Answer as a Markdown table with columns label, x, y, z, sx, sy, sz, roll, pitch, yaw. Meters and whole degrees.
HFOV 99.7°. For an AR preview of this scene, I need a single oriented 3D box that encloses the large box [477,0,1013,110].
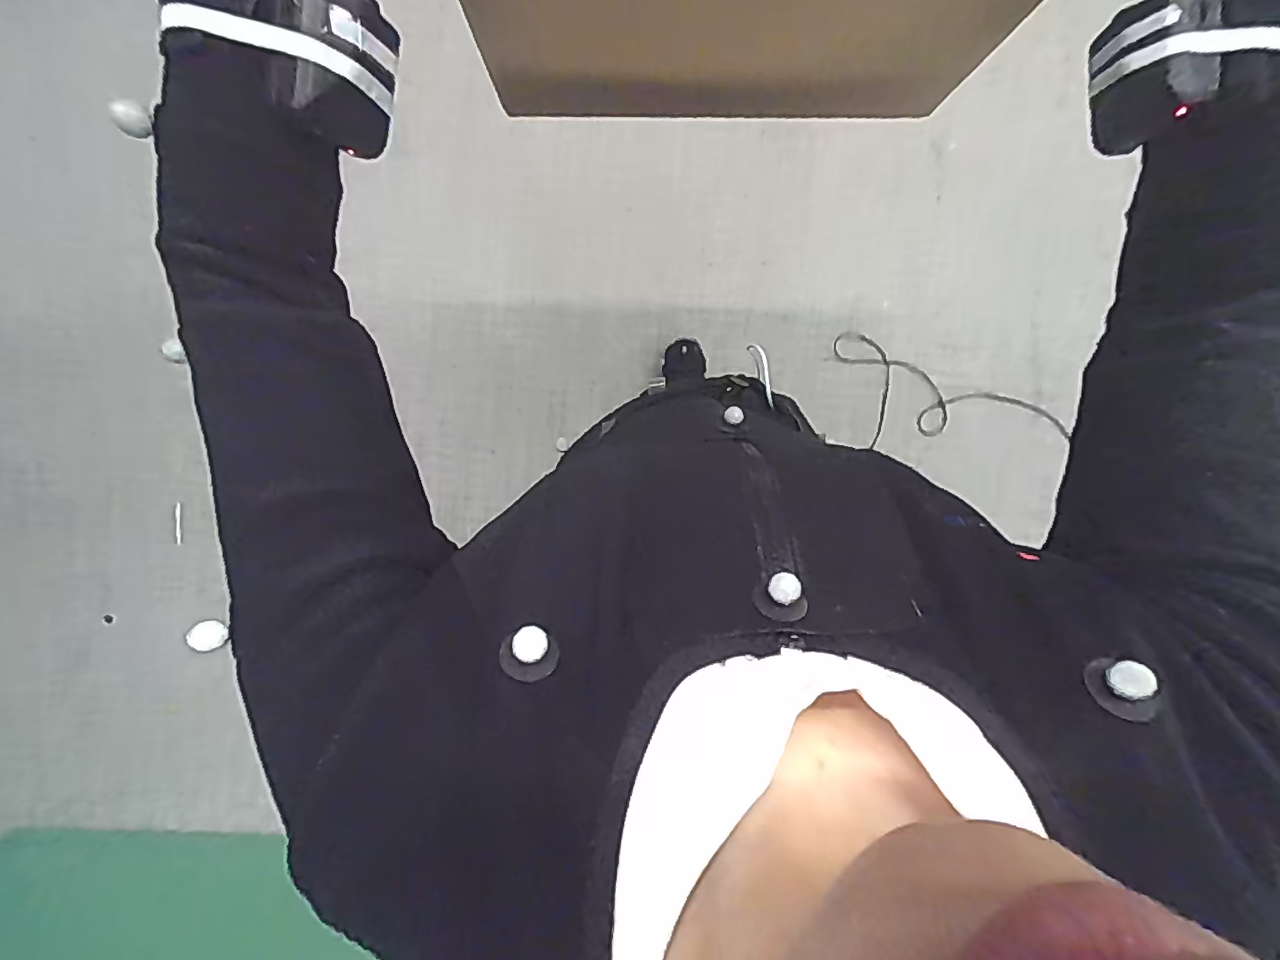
| label | x | y | z | sx | sy | sz | roll | pitch | yaw |
| --- | --- | --- | --- | --- | --- | --- | --- | --- | --- |
| large box | 0.075 | -0.490 | 0.352 | 0.408 | 0.320 | 0.320 | -2 | 97 | -2 |
